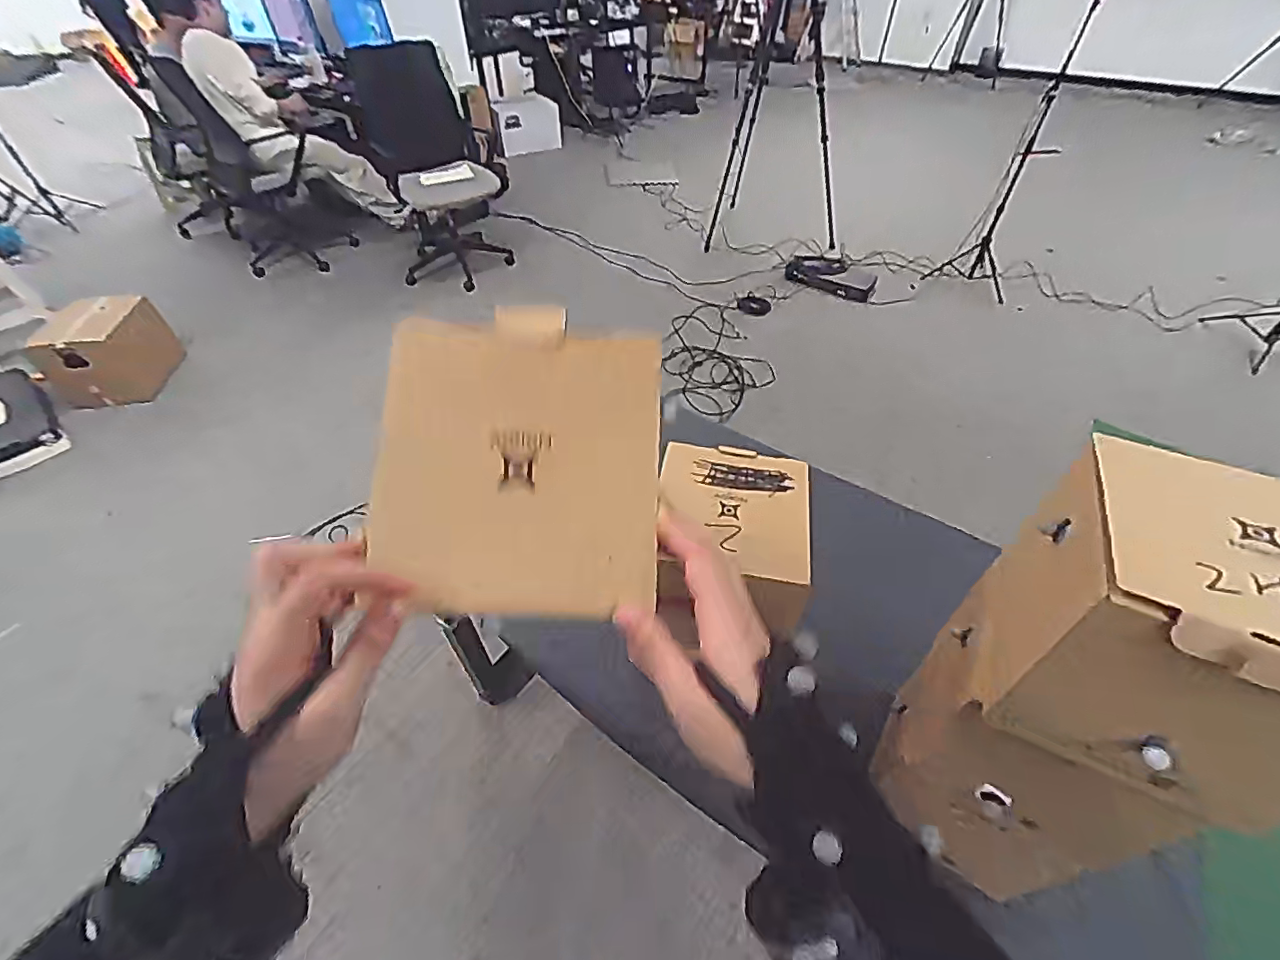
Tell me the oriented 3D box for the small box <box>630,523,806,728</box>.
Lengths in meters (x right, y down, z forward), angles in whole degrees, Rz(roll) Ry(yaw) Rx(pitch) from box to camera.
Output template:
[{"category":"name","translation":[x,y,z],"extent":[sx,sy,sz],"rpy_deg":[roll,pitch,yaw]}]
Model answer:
[{"category":"small box","translation":[0.098,0.200,0.749],"extent":[0.168,0.176,0.179],"rpy_deg":[34,53,29]}]

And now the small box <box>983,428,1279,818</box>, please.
[{"category":"small box","translation":[0.373,0.096,0.389],"extent":[0.168,0.176,0.179],"rpy_deg":[20,47,21]}]

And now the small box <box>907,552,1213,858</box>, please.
[{"category":"small box","translation":[0.376,0.208,0.511],"extent":[0.168,0.176,0.179],"rpy_deg":[23,49,23]}]

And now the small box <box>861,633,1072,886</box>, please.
[{"category":"small box","translation":[0.378,0.322,0.627],"extent":[0.168,0.176,0.179],"rpy_deg":[27,49,24]}]
